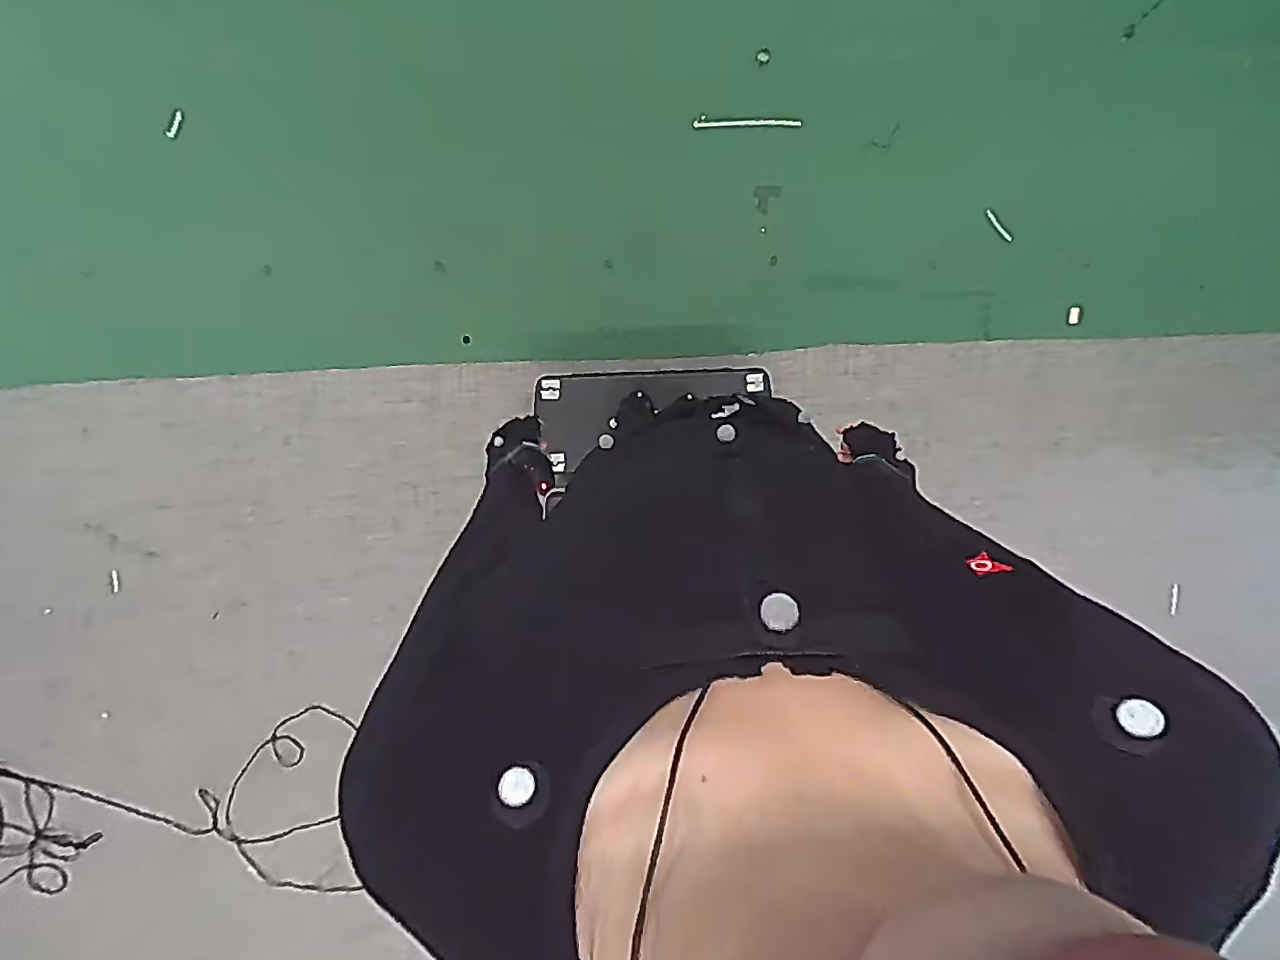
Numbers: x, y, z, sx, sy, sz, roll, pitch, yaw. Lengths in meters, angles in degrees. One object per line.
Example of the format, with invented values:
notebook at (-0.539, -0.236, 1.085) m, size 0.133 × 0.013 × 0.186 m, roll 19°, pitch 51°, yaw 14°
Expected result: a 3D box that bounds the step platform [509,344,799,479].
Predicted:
step platform at (0.034, -0.174, 1.357) m, size 0.684 × 0.204 × 0.286 m, roll -3°, pitch 99°, yaw -1°
